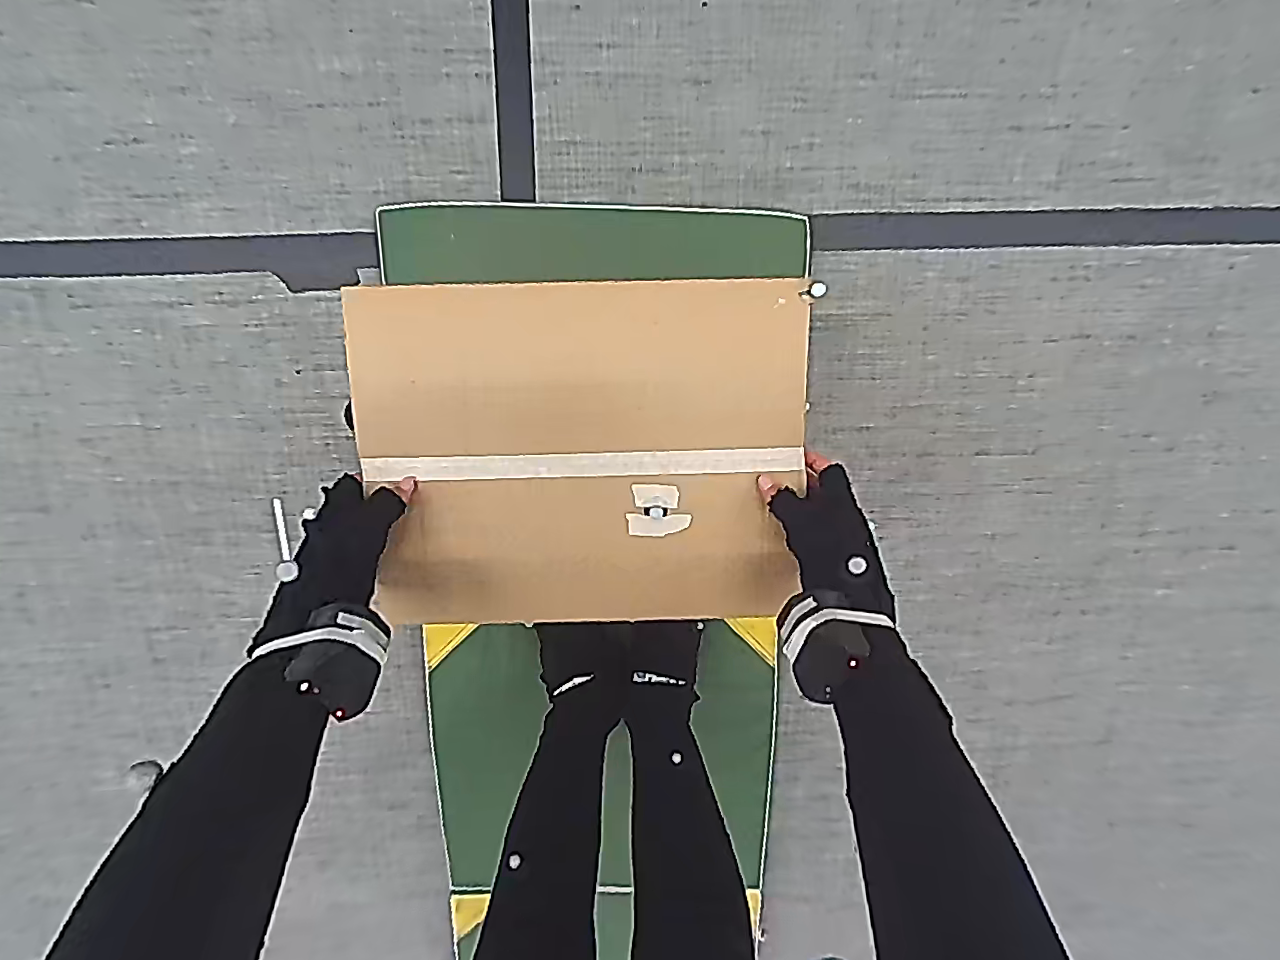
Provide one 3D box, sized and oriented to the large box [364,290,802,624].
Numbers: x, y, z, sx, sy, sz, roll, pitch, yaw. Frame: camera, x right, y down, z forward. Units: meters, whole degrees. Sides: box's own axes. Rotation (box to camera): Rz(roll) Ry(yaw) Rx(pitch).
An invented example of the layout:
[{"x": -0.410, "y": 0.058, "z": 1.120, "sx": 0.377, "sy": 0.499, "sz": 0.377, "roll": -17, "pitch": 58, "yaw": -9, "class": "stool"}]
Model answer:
[{"x": -0.051, "y": -0.038, "z": 0.656, "sx": 0.408, "sy": 0.320, "sz": 0.320, "roll": -1, "pitch": 100, "yaw": 0, "class": "large box"}]
